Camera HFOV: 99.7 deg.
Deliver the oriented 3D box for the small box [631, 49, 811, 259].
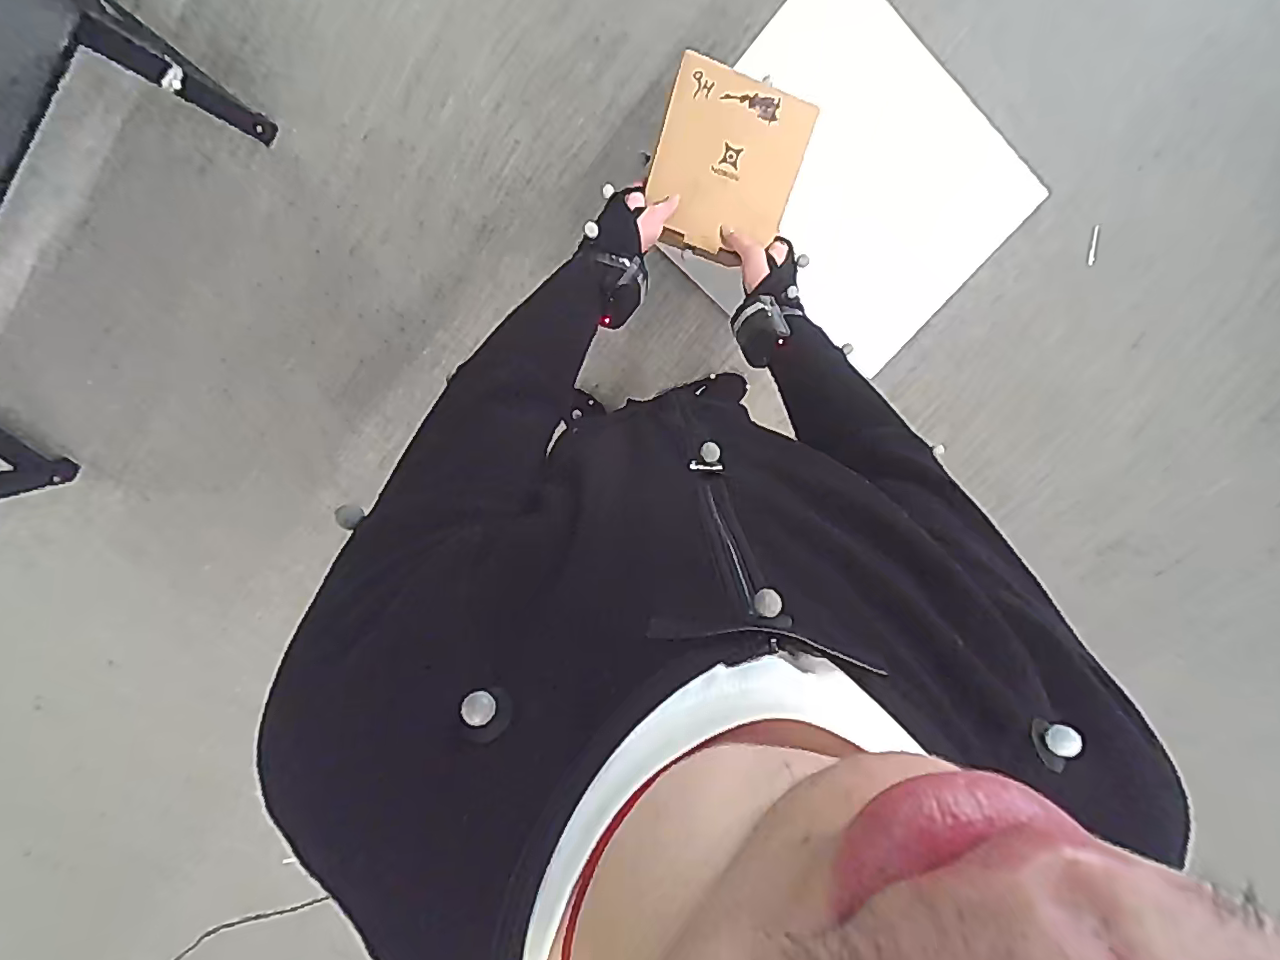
[{"bbox_3d":[0.088,-0.395,0.694,0.168,0.176,0.179,13,108,-9],"label":"small box"}]
